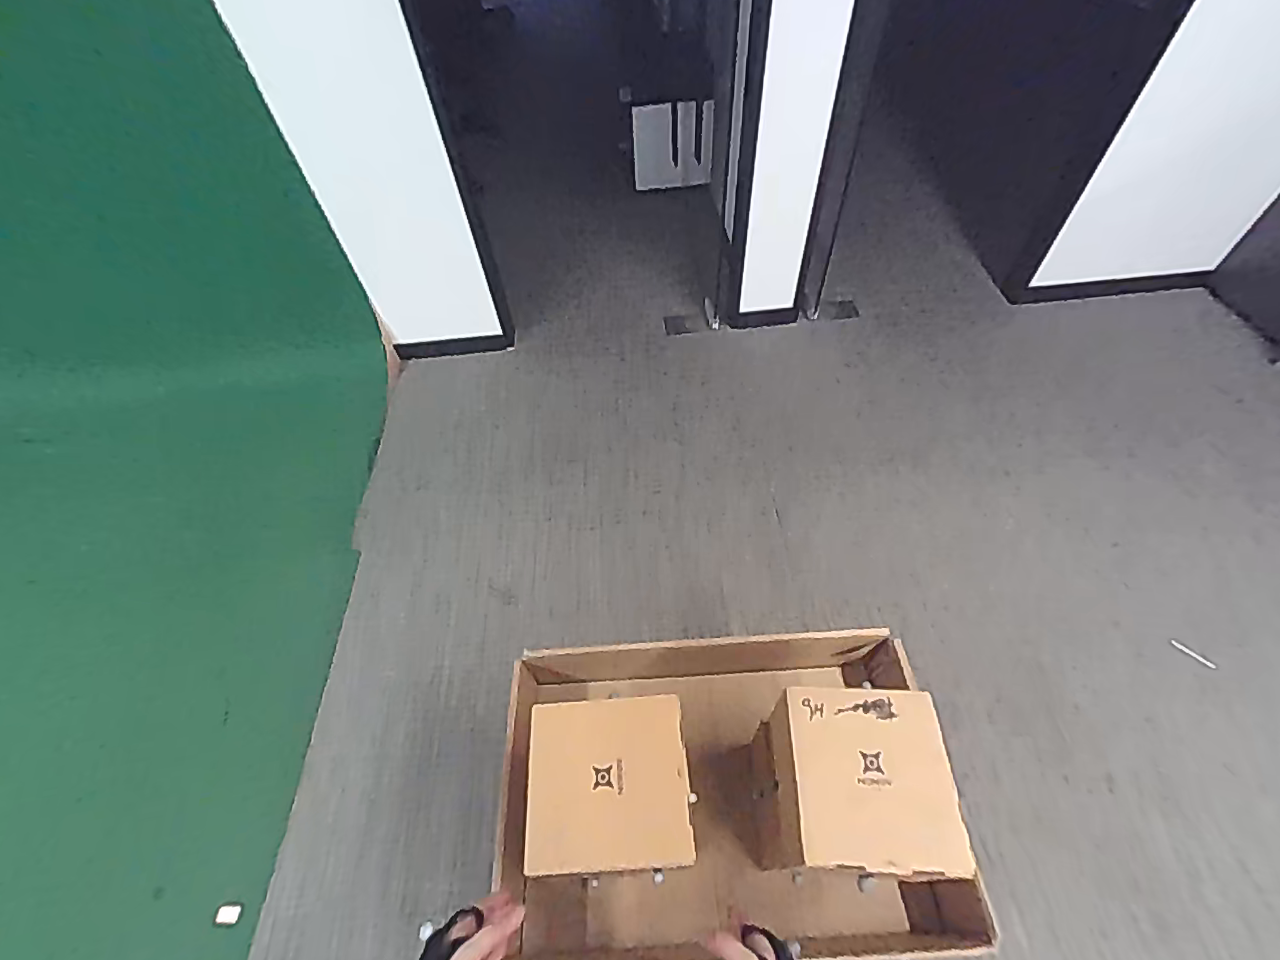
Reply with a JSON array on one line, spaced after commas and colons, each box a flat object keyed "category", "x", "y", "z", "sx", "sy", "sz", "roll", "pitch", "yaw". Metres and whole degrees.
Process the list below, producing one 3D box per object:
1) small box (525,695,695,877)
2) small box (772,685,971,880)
[{"category": "small box", "x": -0.029, "y": 0.373, "z": 0.655, "sx": 0.179, "sy": 0.176, "sz": 0.168, "roll": -4, "pitch": 53, "yaw": 0}, {"category": "small box", "x": 0.252, "y": 0.358, "z": 0.640, "sx": 0.168, "sy": 0.176, "sz": 0.179, "roll": 1, "pitch": 54, "yaw": 6}]
